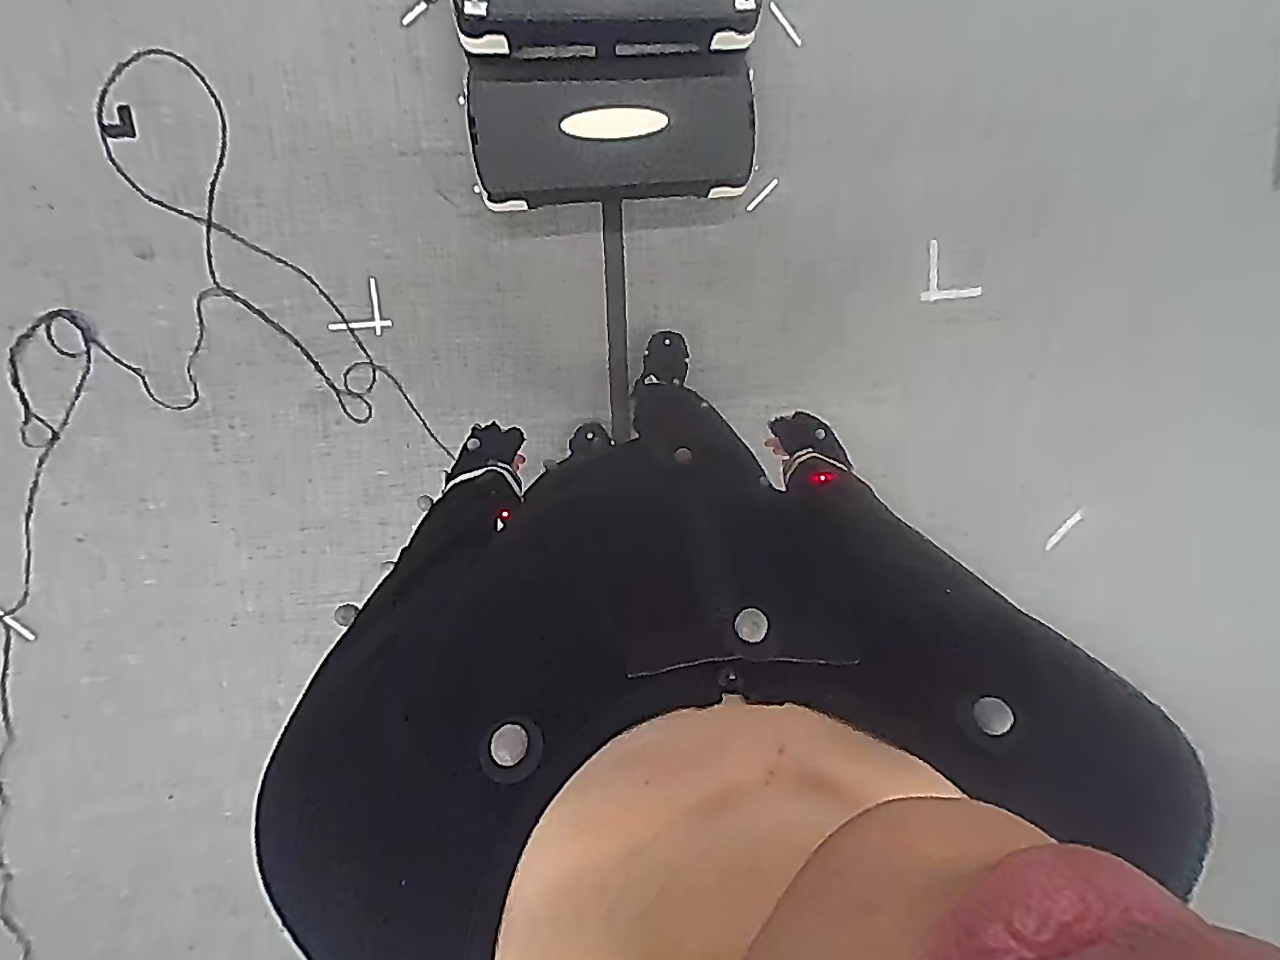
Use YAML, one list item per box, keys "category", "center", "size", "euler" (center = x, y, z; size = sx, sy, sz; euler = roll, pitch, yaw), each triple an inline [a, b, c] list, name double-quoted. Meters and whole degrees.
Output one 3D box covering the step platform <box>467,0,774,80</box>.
- category: "step platform"
  center: [-0.044, -1.111, 1.204]
  size: [0.684, 0.204, 0.286]
  euler: [-6, 100, -5]
